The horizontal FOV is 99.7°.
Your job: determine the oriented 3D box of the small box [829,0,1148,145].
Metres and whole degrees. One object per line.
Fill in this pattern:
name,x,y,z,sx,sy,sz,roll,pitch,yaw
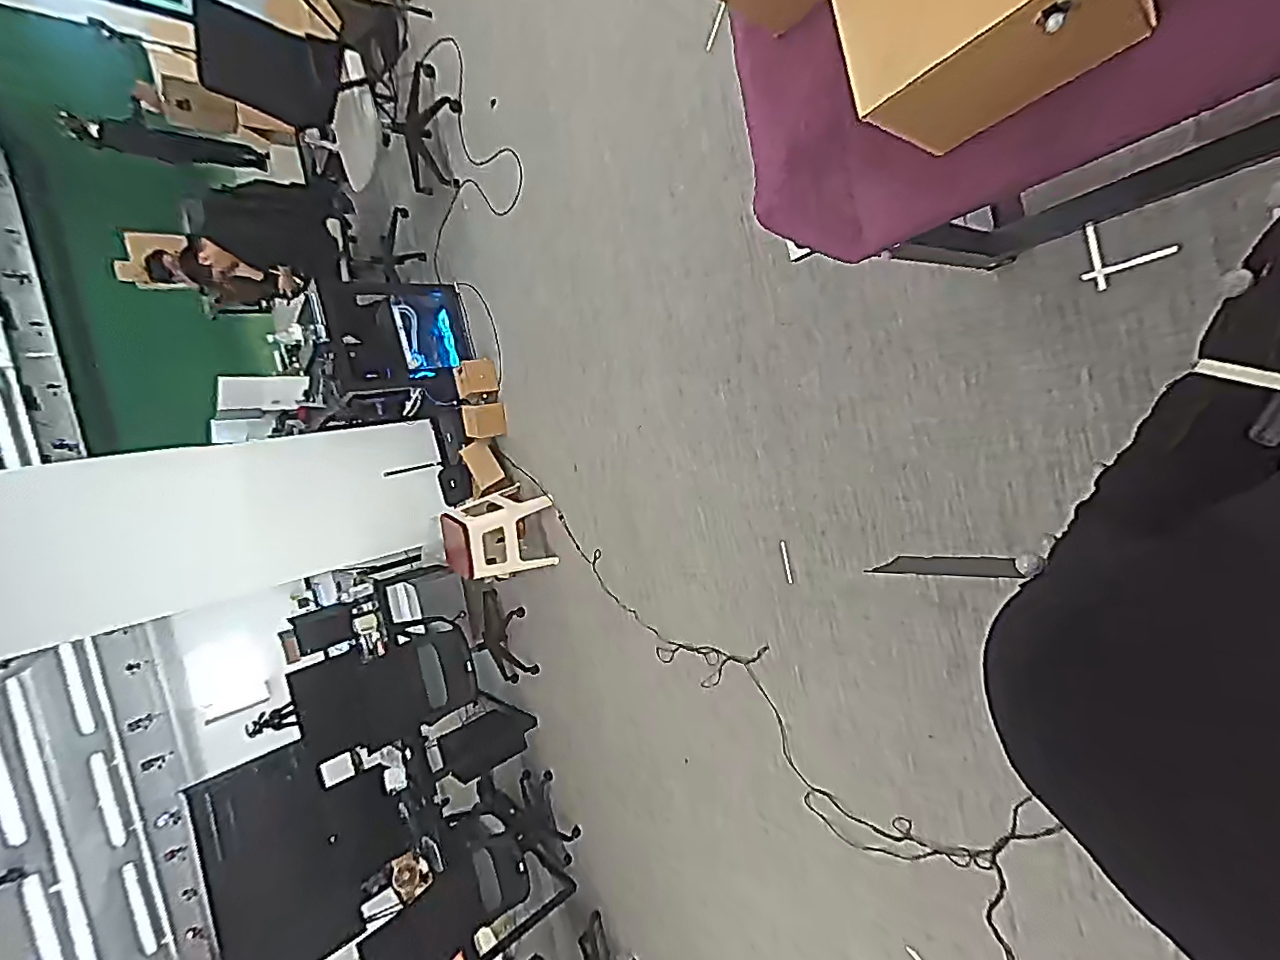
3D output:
small box,0.287,-0.424,0.460,0.179,0.176,0.168,-13,90,51
